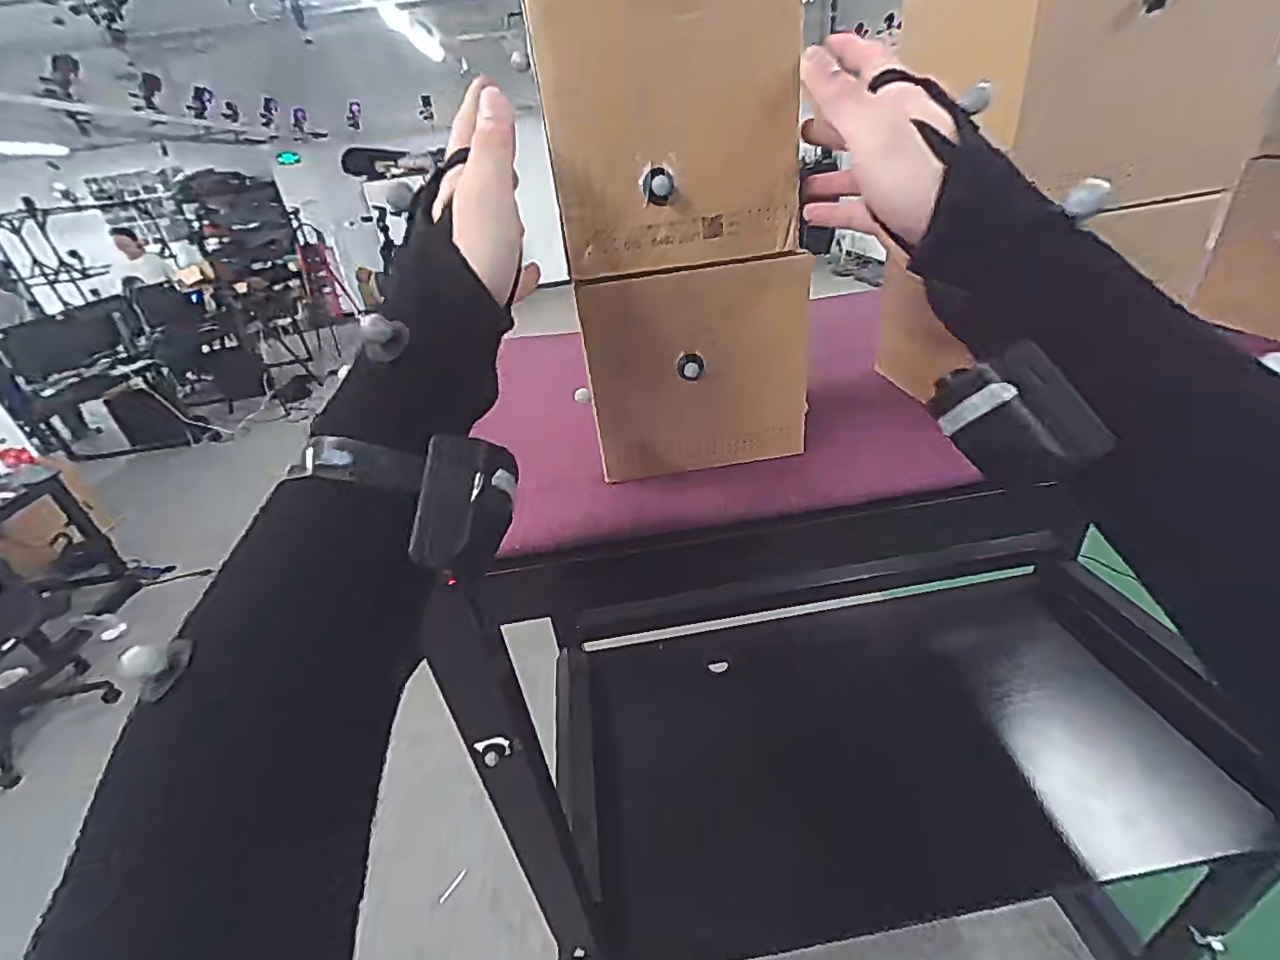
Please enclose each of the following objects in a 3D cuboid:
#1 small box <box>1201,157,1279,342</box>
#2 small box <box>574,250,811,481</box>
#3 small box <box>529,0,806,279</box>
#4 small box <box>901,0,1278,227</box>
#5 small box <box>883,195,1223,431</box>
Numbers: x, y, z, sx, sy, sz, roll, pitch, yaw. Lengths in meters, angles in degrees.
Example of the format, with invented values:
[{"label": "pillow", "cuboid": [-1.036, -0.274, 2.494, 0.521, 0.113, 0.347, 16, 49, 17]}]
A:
[{"label": "small box", "cuboid": [0.720, -0.224, 0.520, 0.168, 0.176, 0.179, -8, 30, 2]}, {"label": "small box", "cuboid": [0.040, -0.117, 0.494, 0.179, 0.176, 0.168, -9, 29, -1]}, {"label": "small box", "cuboid": [0.016, -0.260, 0.422, 0.168, 0.176, 0.179, -9, 29, -2]}, {"label": "small box", "cuboid": [0.322, -0.299, 0.417, 0.179, 0.176, 0.168, -9, 29, 0]}, {"label": "small box", "cuboid": [0.345, -0.161, 0.502, 0.168, 0.176, 0.179, -8, 30, 1]}]
